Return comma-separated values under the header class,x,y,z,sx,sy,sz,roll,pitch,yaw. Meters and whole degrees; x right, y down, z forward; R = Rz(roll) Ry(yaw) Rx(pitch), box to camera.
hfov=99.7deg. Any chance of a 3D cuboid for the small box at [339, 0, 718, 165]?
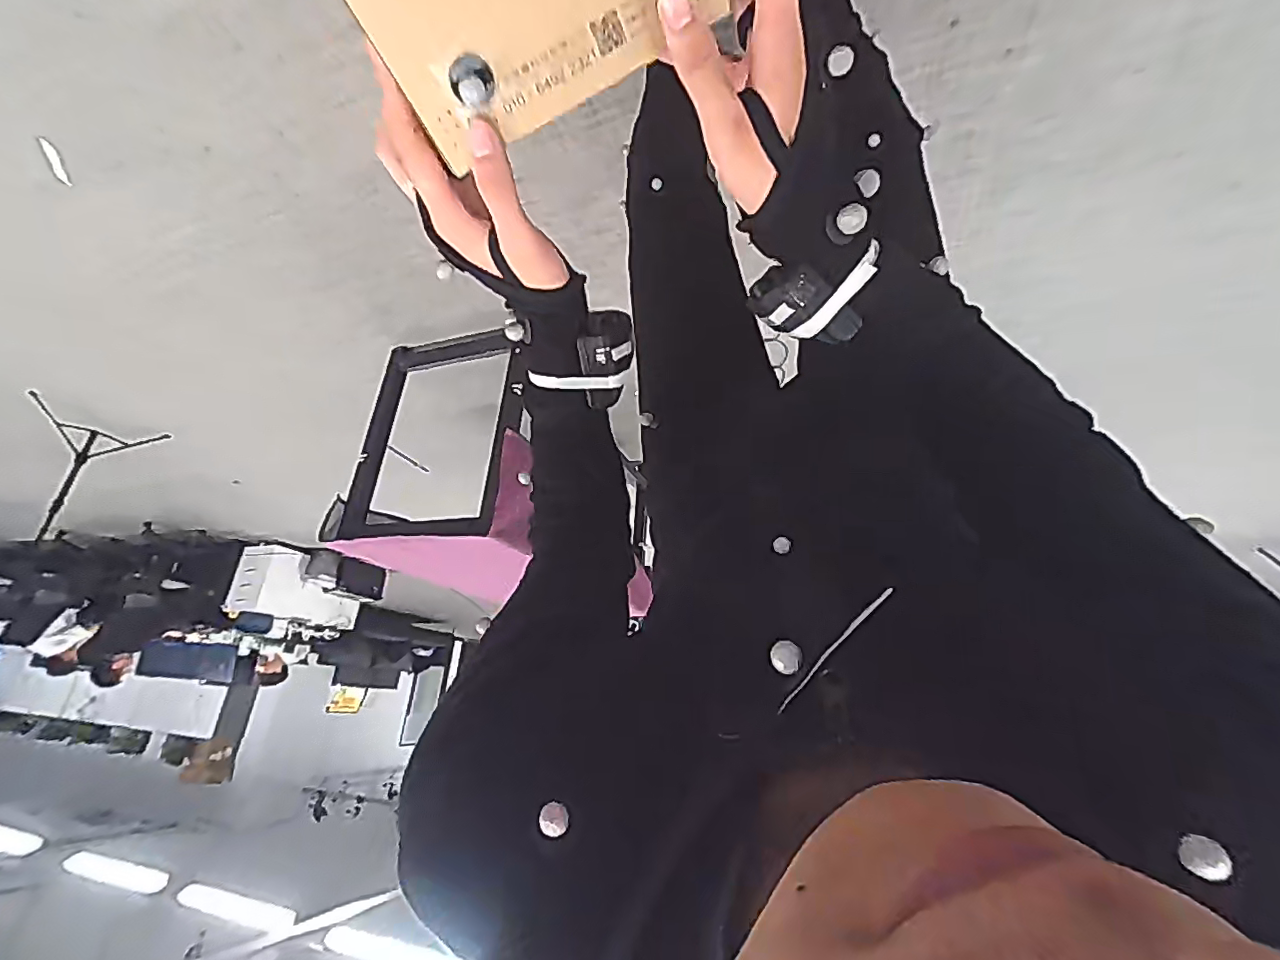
class,x,y,z,sx,sy,sz,roll,pitch,yaw
small box,-0.074,-0.299,0.280,0.168,0.179,0.176,-25,135,10
